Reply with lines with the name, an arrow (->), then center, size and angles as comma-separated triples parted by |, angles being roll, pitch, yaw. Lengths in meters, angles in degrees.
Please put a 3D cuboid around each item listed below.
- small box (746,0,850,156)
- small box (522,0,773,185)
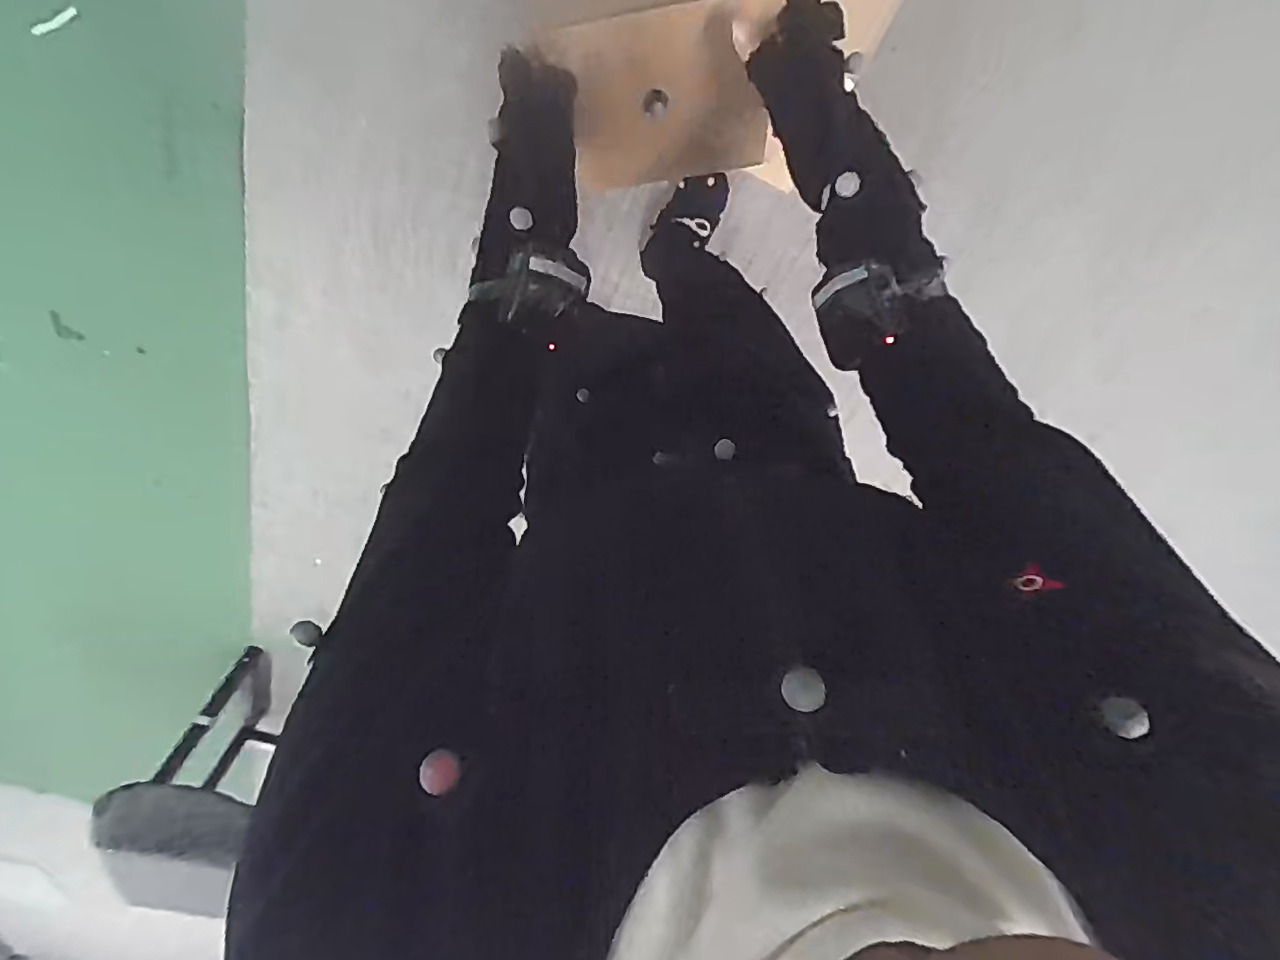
small box -> 0.137, -0.563, 0.714 | 0.179, 0.176, 0.168 | 20, 128, -12
small box -> 0.011, -0.385, 0.455 | 0.179, 0.176, 0.168 | -6, 82, 9
